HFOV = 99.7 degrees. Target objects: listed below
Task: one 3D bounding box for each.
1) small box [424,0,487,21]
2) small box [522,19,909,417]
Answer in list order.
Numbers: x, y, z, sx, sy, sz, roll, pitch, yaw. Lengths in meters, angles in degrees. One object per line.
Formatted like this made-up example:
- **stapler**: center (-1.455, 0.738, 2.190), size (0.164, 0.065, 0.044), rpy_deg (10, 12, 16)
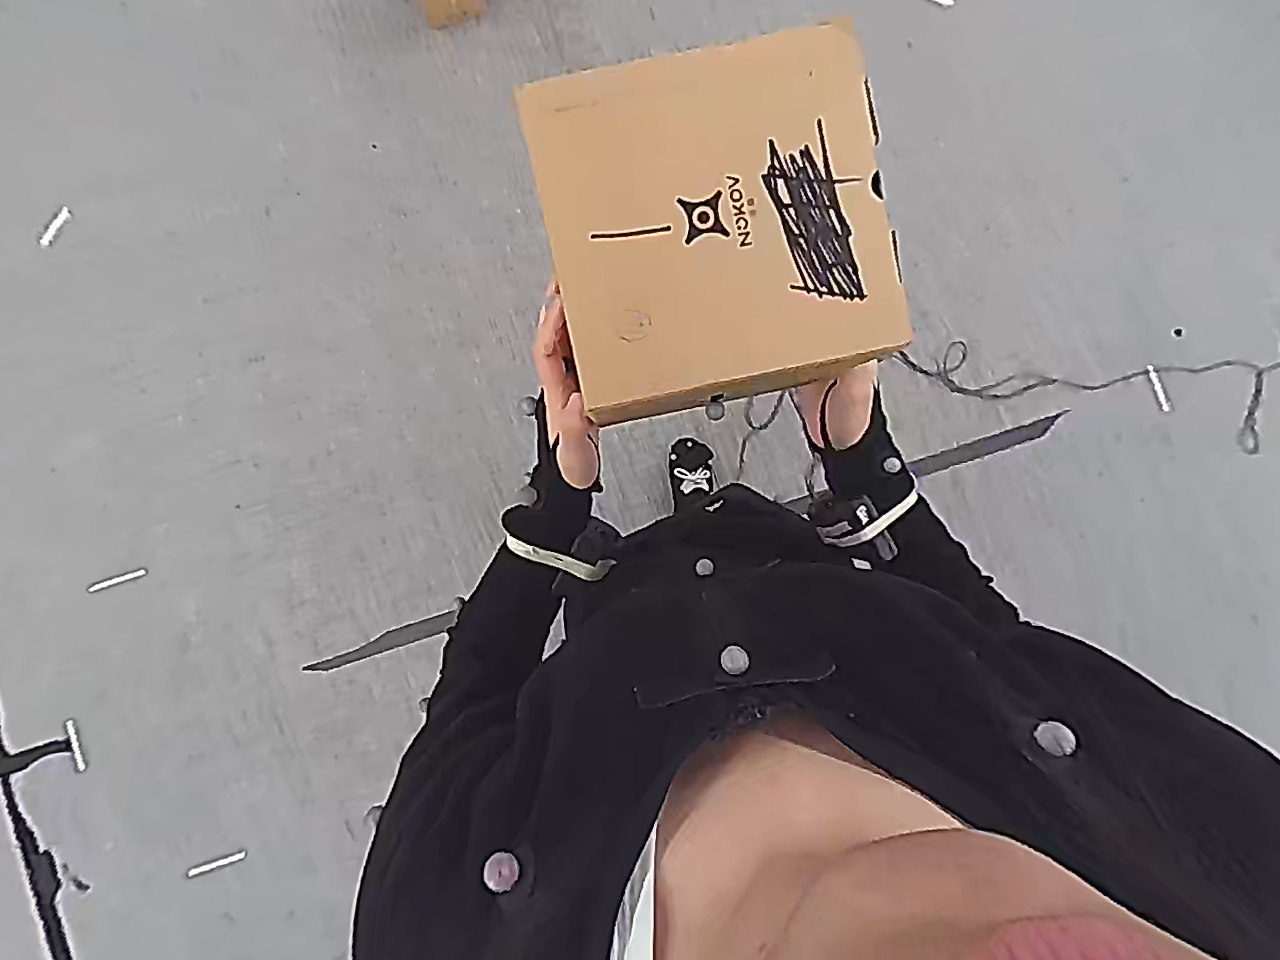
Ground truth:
- **small box**: center (-0.542, -1.425, 1.496), size (0.168, 0.176, 0.179), rpy_deg (-18, 88, -1)
- **small box**: center (0.037, -0.139, 0.353), size (0.179, 0.176, 0.168), rpy_deg (-12, 94, -1)
